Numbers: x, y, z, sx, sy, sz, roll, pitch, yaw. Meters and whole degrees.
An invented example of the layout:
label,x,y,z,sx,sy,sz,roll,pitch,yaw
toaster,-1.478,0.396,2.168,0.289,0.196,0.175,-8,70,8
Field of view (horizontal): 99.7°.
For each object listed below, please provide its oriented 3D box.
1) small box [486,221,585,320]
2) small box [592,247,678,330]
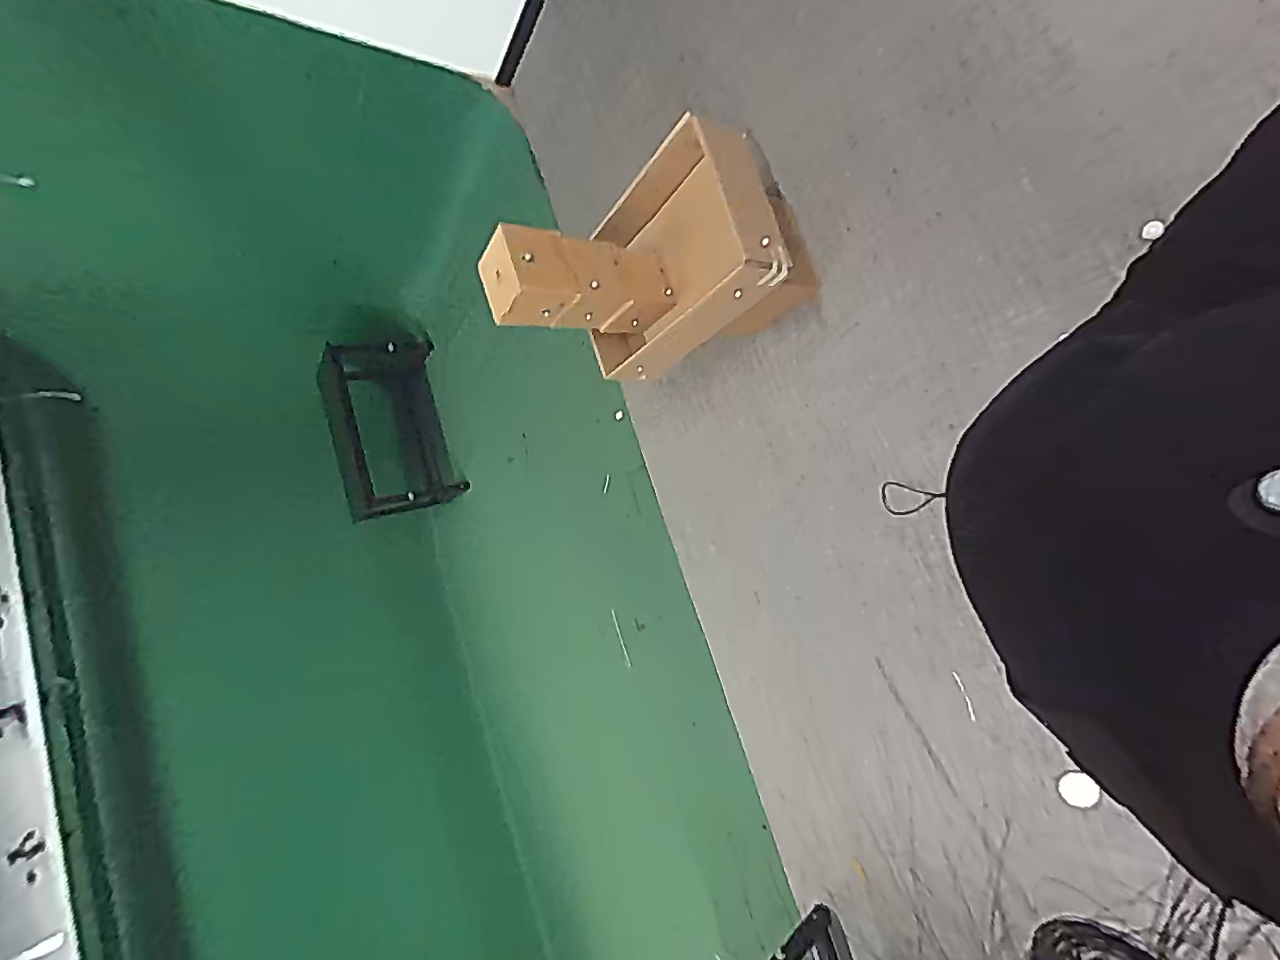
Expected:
label,x,y,z,sx,sy,sz,roll,pitch,yaw
small box,-0.265,-0.520,1.371,0.168,0.176,0.179,-29,76,51
small box,-0.009,-0.551,1.572,0.179,0.176,0.168,-25,80,51
